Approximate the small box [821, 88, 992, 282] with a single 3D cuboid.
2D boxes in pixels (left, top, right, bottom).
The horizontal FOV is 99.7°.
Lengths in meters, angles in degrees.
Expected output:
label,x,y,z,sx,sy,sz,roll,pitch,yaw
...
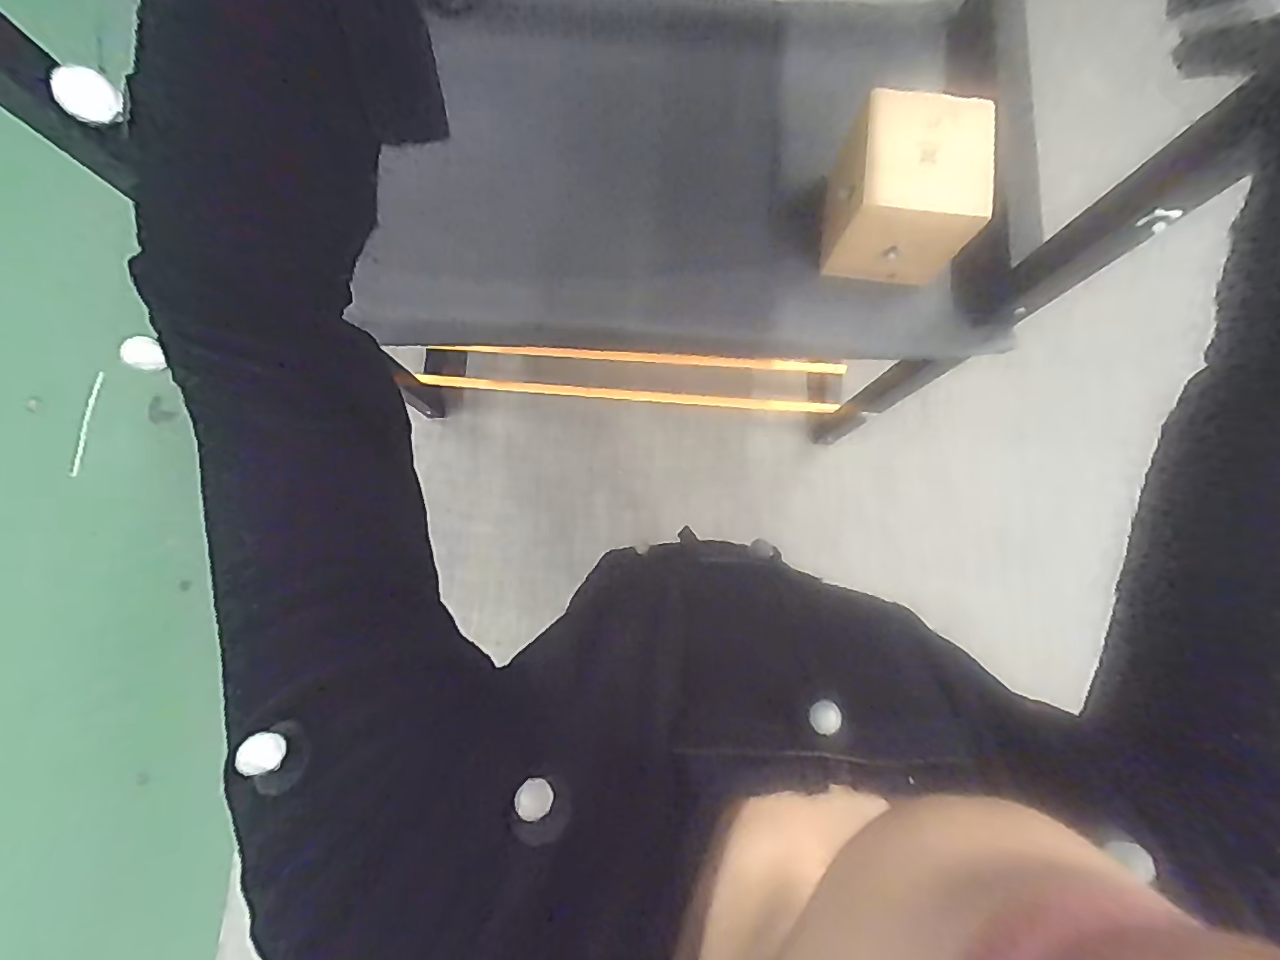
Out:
label,x,y,z,sx,sy,sz,roll,pitch,yaw
small box,0.369,-0.409,0.776,0.168,0.176,0.179,8,80,1
